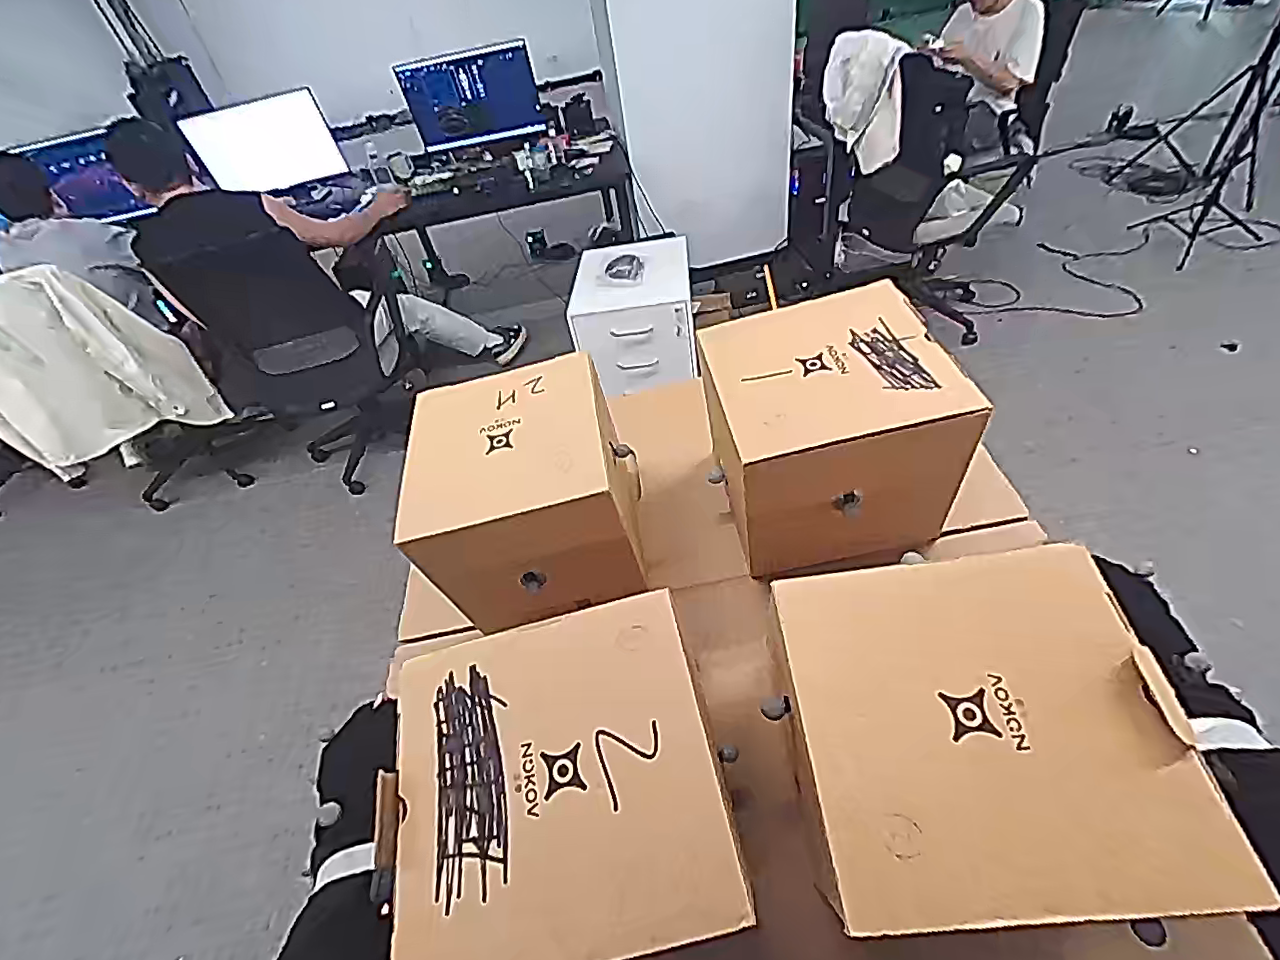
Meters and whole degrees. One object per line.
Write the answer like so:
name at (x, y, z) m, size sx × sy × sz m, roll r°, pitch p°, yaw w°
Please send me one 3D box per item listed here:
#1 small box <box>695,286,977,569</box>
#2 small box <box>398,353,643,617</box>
small box at (0.157, -0.040, 0.491) m, size 0.179 × 0.176 × 0.168 m, roll -13°, pitch 50°, yaw 5°
small box at (-0.099, 0.014, 0.514) m, size 0.168 × 0.176 × 0.179 m, roll -13°, pitch 49°, yaw 3°
